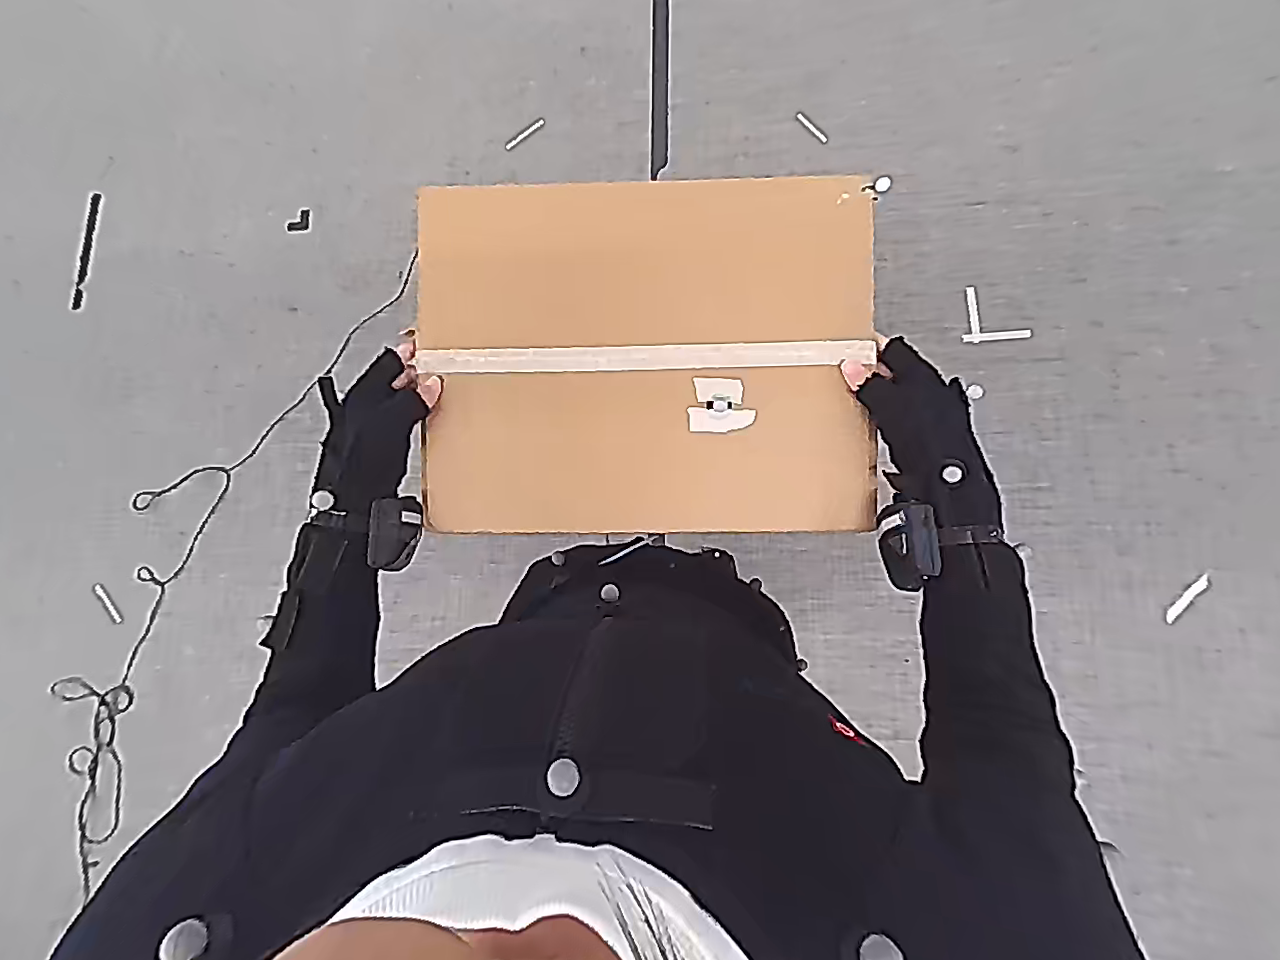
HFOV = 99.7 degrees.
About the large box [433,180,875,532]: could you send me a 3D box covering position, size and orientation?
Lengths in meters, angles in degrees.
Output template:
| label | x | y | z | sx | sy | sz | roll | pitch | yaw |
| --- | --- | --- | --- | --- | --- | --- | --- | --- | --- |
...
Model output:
| label | x | y | z | sx | sy | sz | roll | pitch | yaw |
| --- | --- | --- | --- | --- | --- | --- | --- | --- | --- |
| large box | 0.013 | -0.113 | 0.642 | 0.408 | 0.320 | 0.320 | -1 | 91 | 1 |
